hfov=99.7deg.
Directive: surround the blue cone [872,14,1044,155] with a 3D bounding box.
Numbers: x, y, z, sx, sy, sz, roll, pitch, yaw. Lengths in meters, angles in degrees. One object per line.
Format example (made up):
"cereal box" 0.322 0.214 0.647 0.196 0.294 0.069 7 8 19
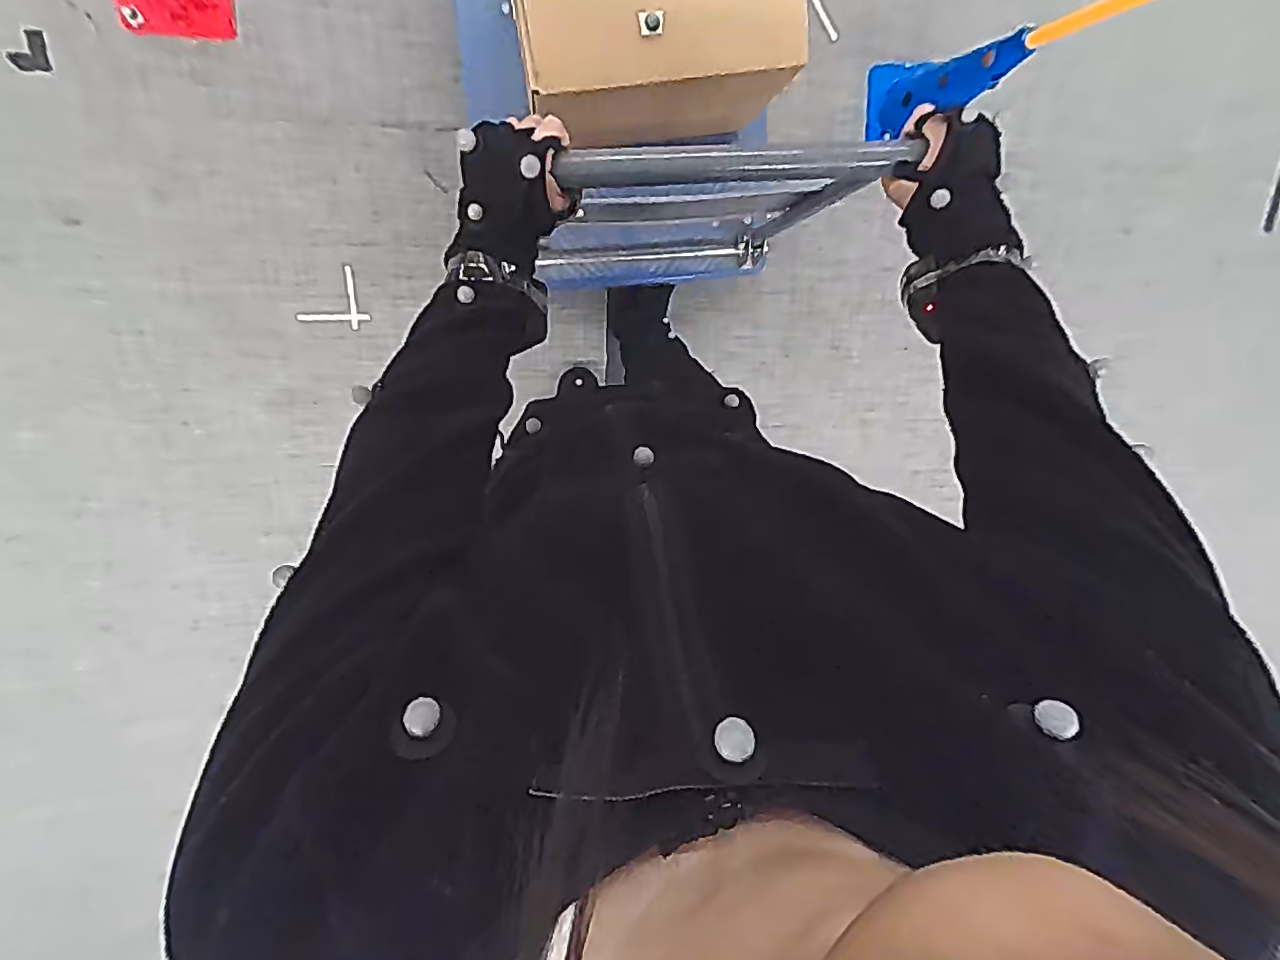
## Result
"blue cone" 0.663 -0.835 1.125 0.193 0.380 0.192 -5 106 -8
